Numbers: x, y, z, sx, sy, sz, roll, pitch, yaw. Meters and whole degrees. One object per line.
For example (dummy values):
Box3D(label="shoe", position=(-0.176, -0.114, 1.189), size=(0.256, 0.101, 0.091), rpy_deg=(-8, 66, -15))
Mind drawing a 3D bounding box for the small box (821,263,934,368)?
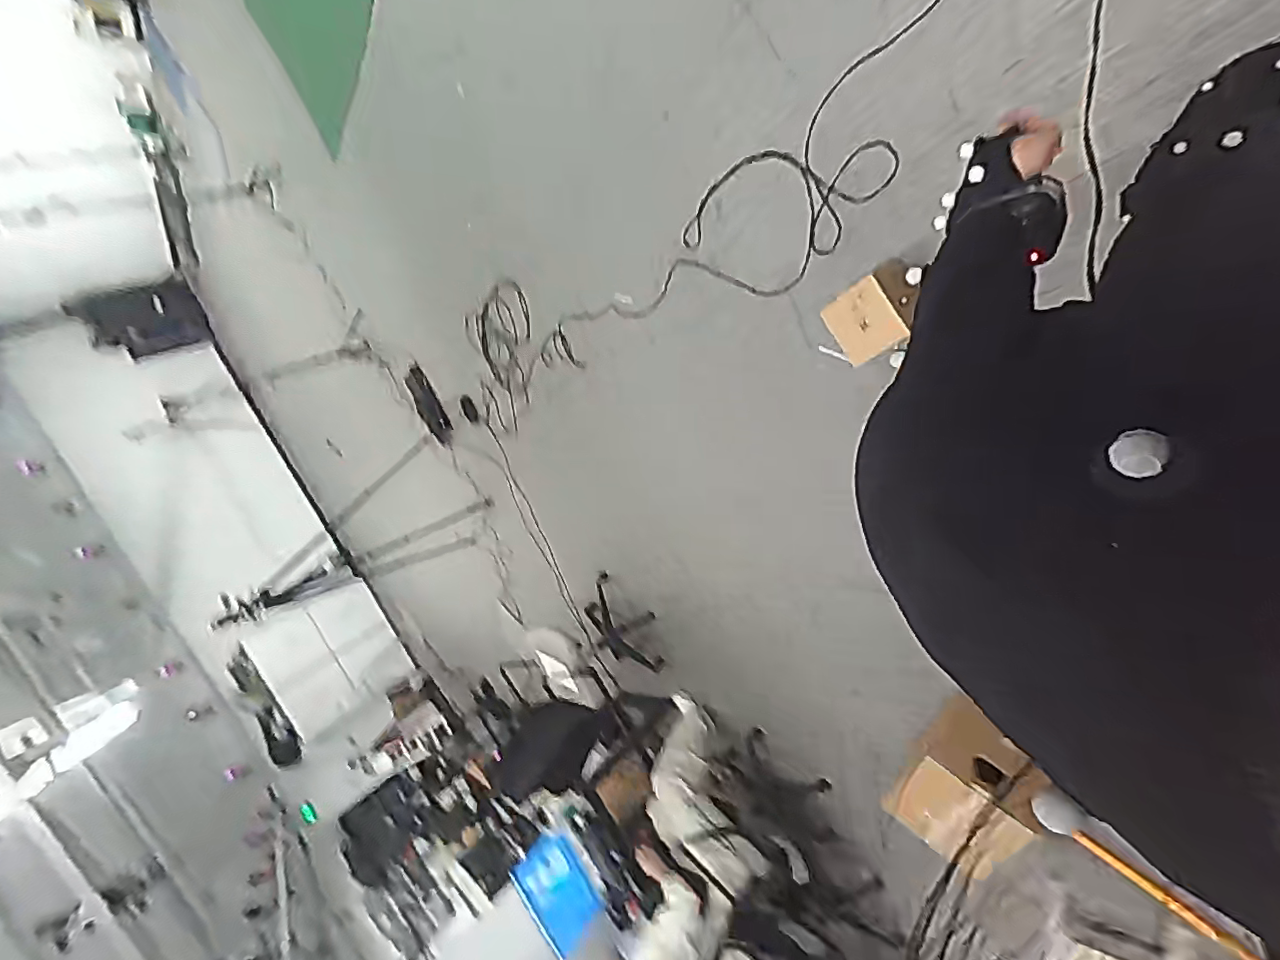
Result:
Box3D(label="small box", position=(0.604, -0.419, 1.367), size=(0.179, 0.176, 0.168), rpy_deg=(58, 144, 1))
